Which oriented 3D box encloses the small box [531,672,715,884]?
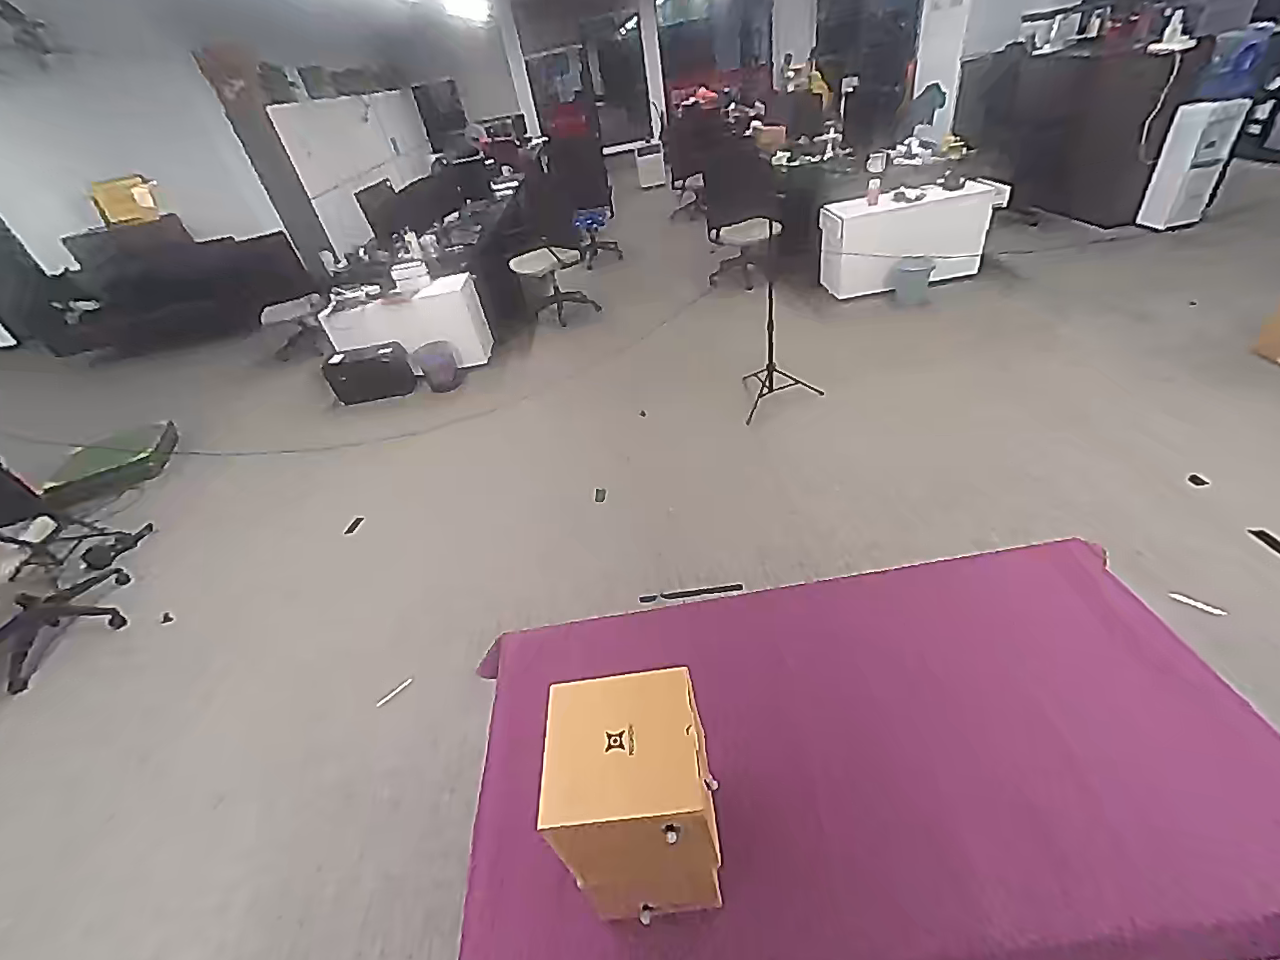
[{"bbox_3d":[-0.014,0.358,0.647,0.179,0.176,0.168,-9,38,4],"label":"small box"}]

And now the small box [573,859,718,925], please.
[{"bbox_3d":[0.010,0.480,0.751,0.168,0.176,0.179,-10,38,4],"label":"small box"}]
